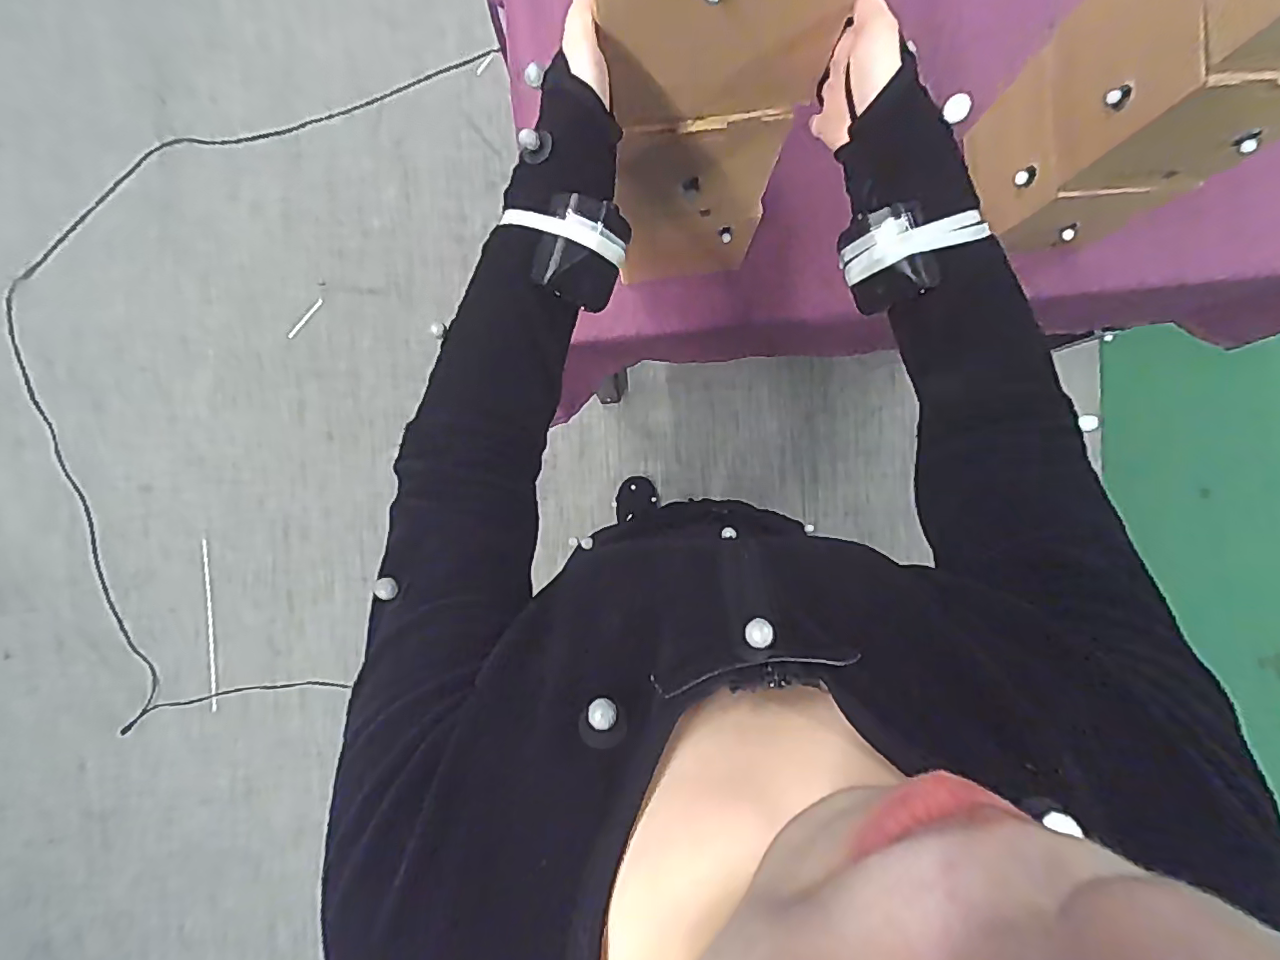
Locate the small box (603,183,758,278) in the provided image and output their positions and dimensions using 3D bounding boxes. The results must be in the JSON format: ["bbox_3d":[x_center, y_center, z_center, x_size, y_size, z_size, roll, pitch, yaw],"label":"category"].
[{"bbox_3d":[0.043,-0.378,0.701,0.179,0.176,0.168,-7,89,1],"label":"small box"}]

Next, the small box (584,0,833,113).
[{"bbox_3d":[0.042,-0.390,0.372,0.179,0.176,0.168,-7,89,0],"label":"small box"}]

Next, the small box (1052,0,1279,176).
[{"bbox_3d":[0.541,-0.419,0.523,0.168,0.176,0.179,-2,89,1],"label":"small box"}]

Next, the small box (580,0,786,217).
[{"bbox_3d":[0.035,-0.383,0.537,0.168,0.176,0.179,-7,90,0],"label":"small box"}]

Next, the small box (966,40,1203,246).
[{"bbox_3d":[0.545,-0.414,0.686,0.168,0.176,0.179,-4,89,1],"label":"small box"}]
